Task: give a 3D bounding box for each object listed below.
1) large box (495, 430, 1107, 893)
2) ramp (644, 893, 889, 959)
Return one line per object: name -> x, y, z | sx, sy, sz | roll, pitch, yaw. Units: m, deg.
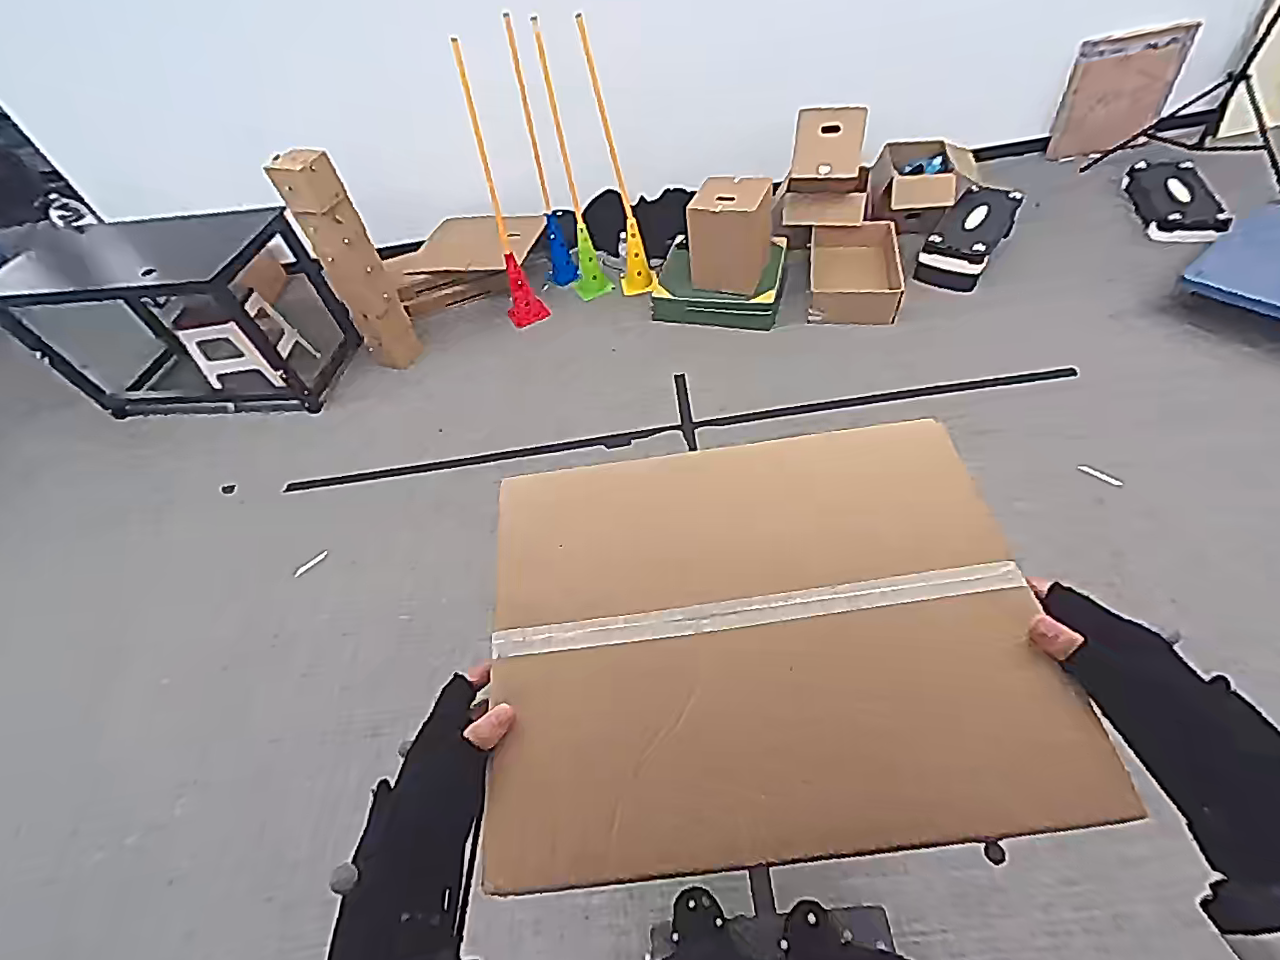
large box -> 0.101, 0.186, 0.548 | 0.408, 0.320, 0.320 | -8, 56, 1
ramp -> 0.297, 1.331, 0.908 | 0.509, 0.206, 0.991 | -8, 51, 0
